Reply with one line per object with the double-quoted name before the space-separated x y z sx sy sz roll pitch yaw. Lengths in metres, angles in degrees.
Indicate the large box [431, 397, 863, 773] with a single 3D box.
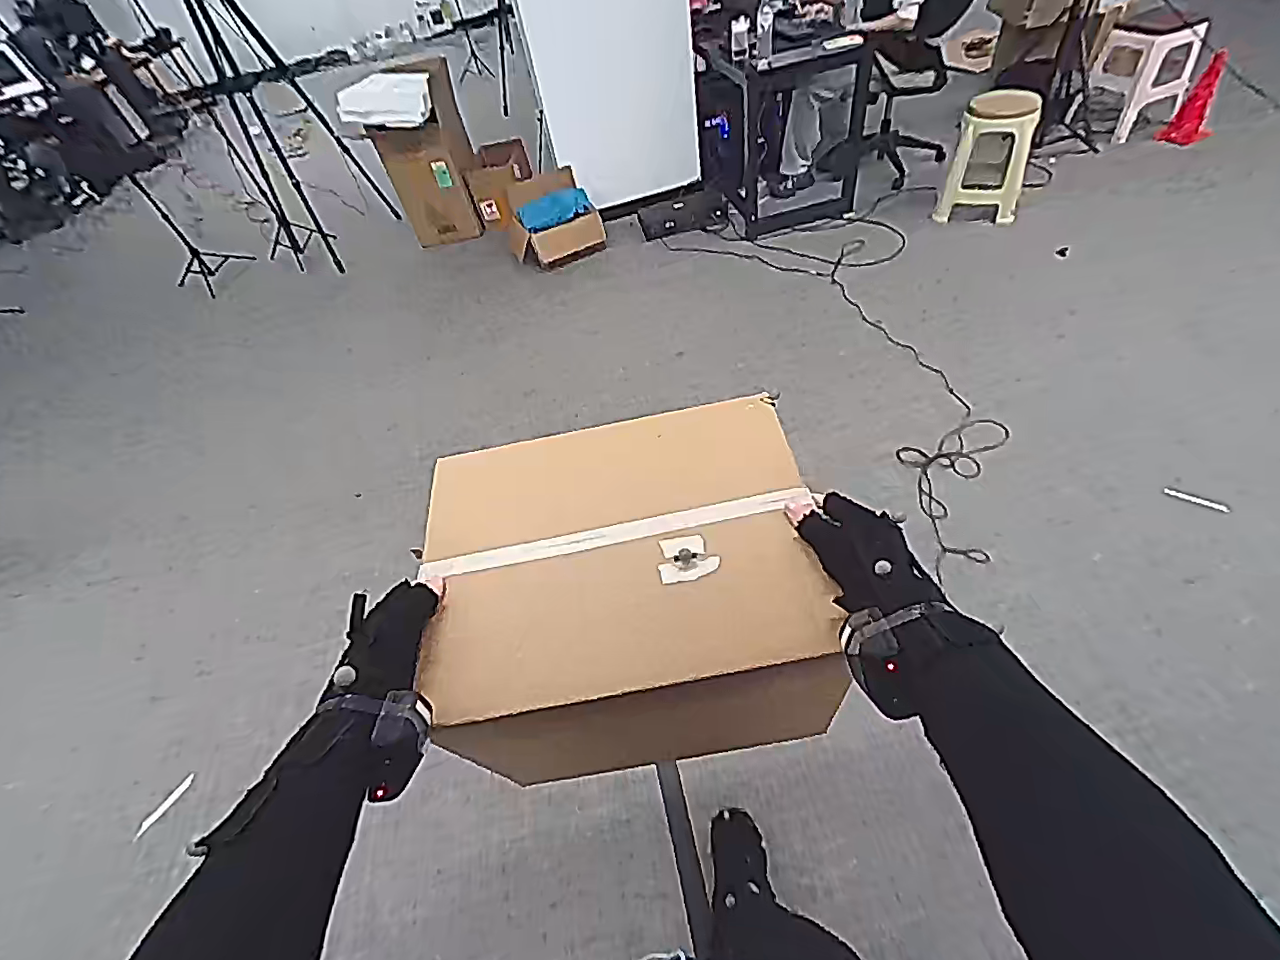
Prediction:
"large box" 0.002 0.144 0.687 0.408 0.320 0.320 -11 53 1
